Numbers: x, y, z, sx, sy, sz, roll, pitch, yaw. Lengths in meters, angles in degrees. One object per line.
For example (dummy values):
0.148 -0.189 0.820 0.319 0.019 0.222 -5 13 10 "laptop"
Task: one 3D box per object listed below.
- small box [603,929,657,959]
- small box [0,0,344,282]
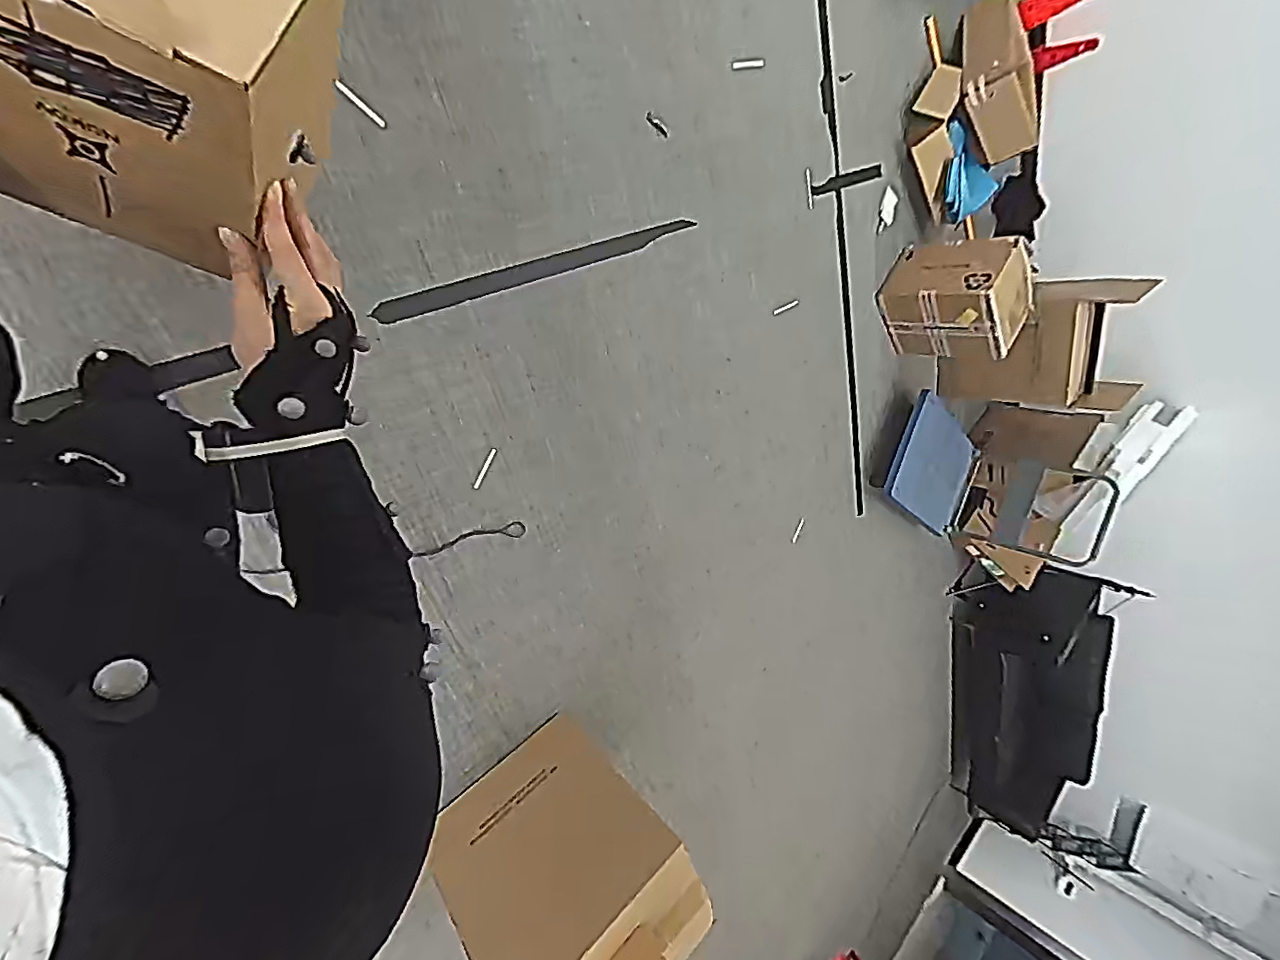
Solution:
-0.015 1.206 1.242 0.179 0.176 0.168 -34 121 -30 "small box"
-0.301 -0.270 0.335 0.168 0.179 0.176 19 63 -27 "small box"
